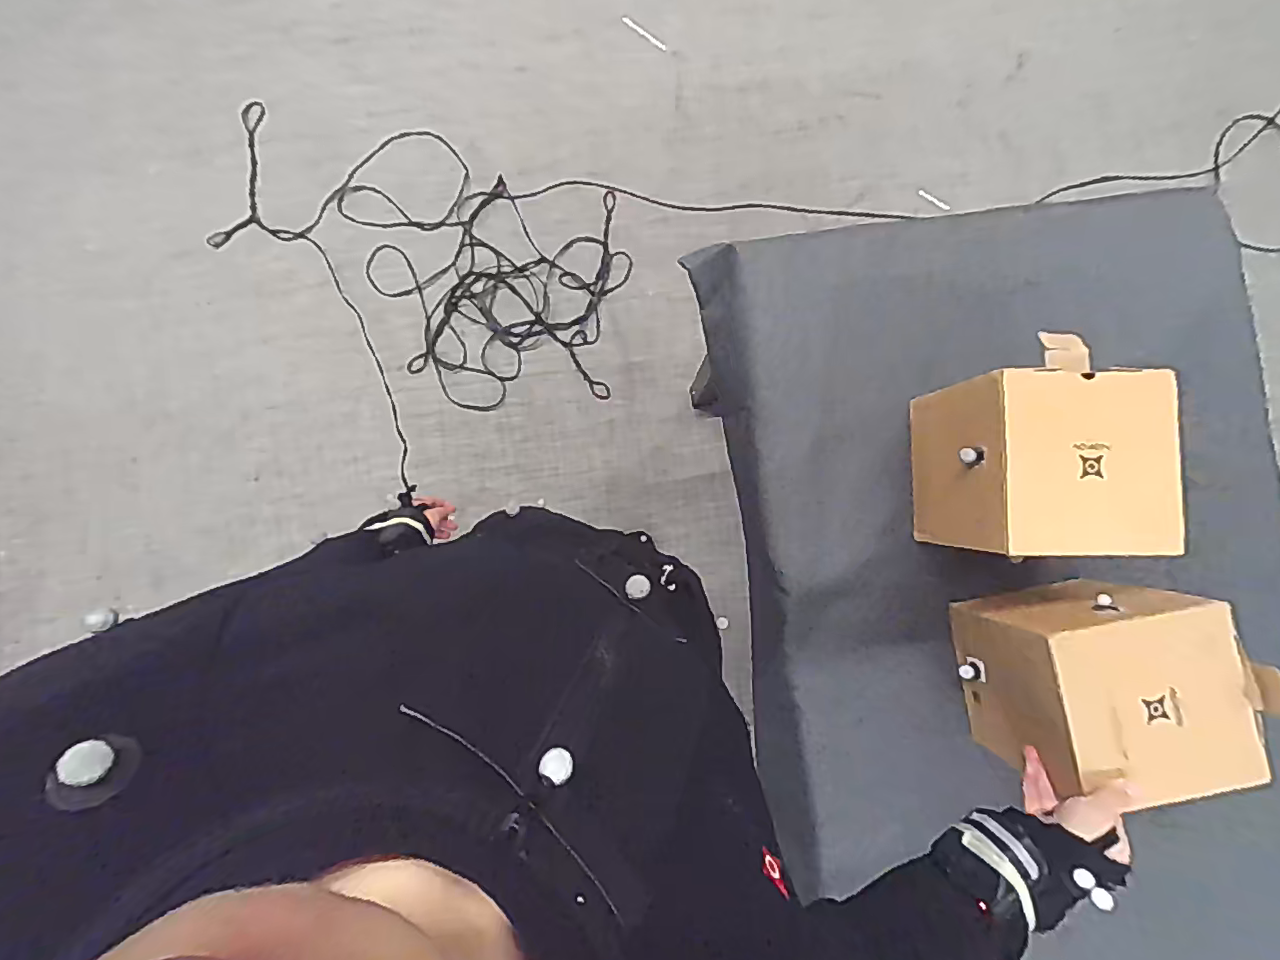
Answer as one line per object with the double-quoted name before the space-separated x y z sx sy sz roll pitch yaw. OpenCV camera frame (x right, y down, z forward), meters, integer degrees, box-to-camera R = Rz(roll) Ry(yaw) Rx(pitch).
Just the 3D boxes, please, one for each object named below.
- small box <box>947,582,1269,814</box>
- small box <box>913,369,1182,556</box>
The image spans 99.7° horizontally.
"small box" 0.471 0.211 0.573 0.179 0.176 0.168 -12 85 -2
"small box" 0.418 -0.014 0.583 0.168 0.176 0.179 0 87 -2
